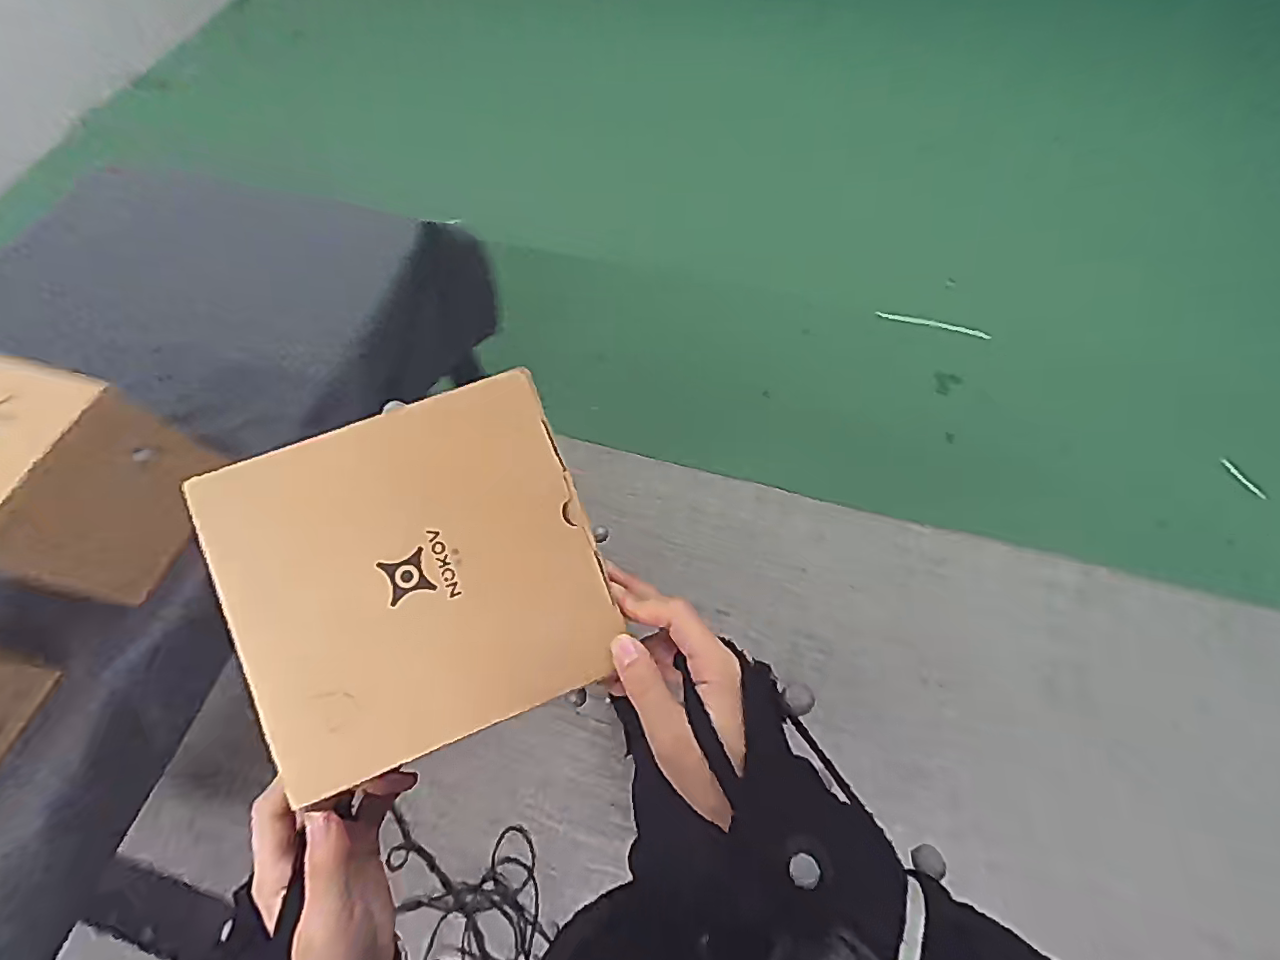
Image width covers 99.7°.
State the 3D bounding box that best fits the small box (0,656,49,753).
[{"bbox_3d":[-0.693,0.214,0.456,0.179,0.176,0.168,14,64,11],"label":"small box"}]
